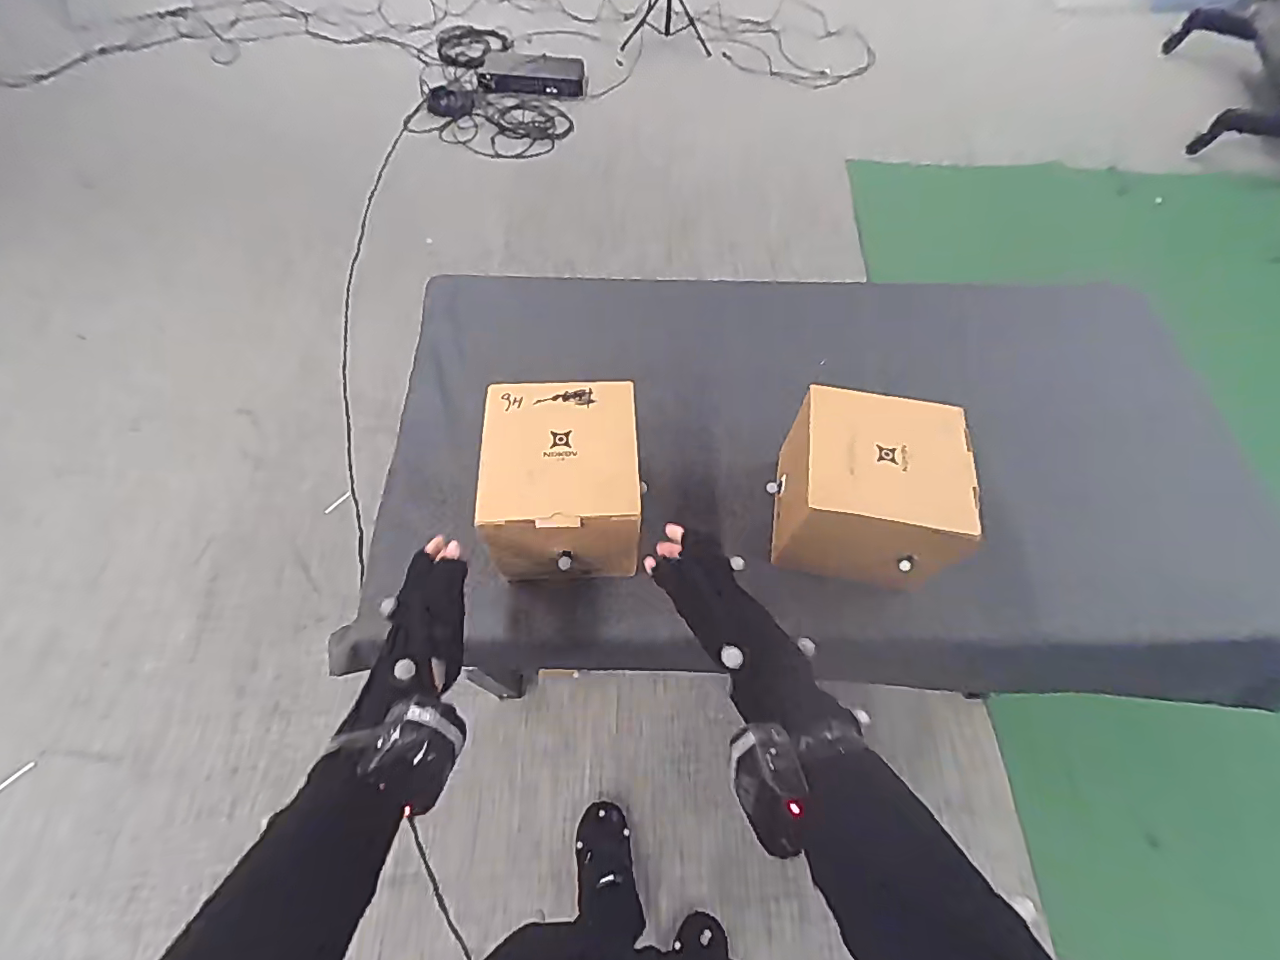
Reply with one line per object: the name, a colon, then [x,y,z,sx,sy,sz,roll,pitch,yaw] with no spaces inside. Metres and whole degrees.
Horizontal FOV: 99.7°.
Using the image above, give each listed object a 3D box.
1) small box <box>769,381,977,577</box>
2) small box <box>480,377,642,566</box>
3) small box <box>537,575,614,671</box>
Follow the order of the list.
small box: [0.267,0.007,0.658,0.179,0.176,0.168,9,60,3]
small box: [-0.084,-0.001,0.646,0.168,0.176,0.179,-2,61,-4]
small box: [-0.152,0.343,1.288,0.168,0.176,0.179,-6,63,-5]
